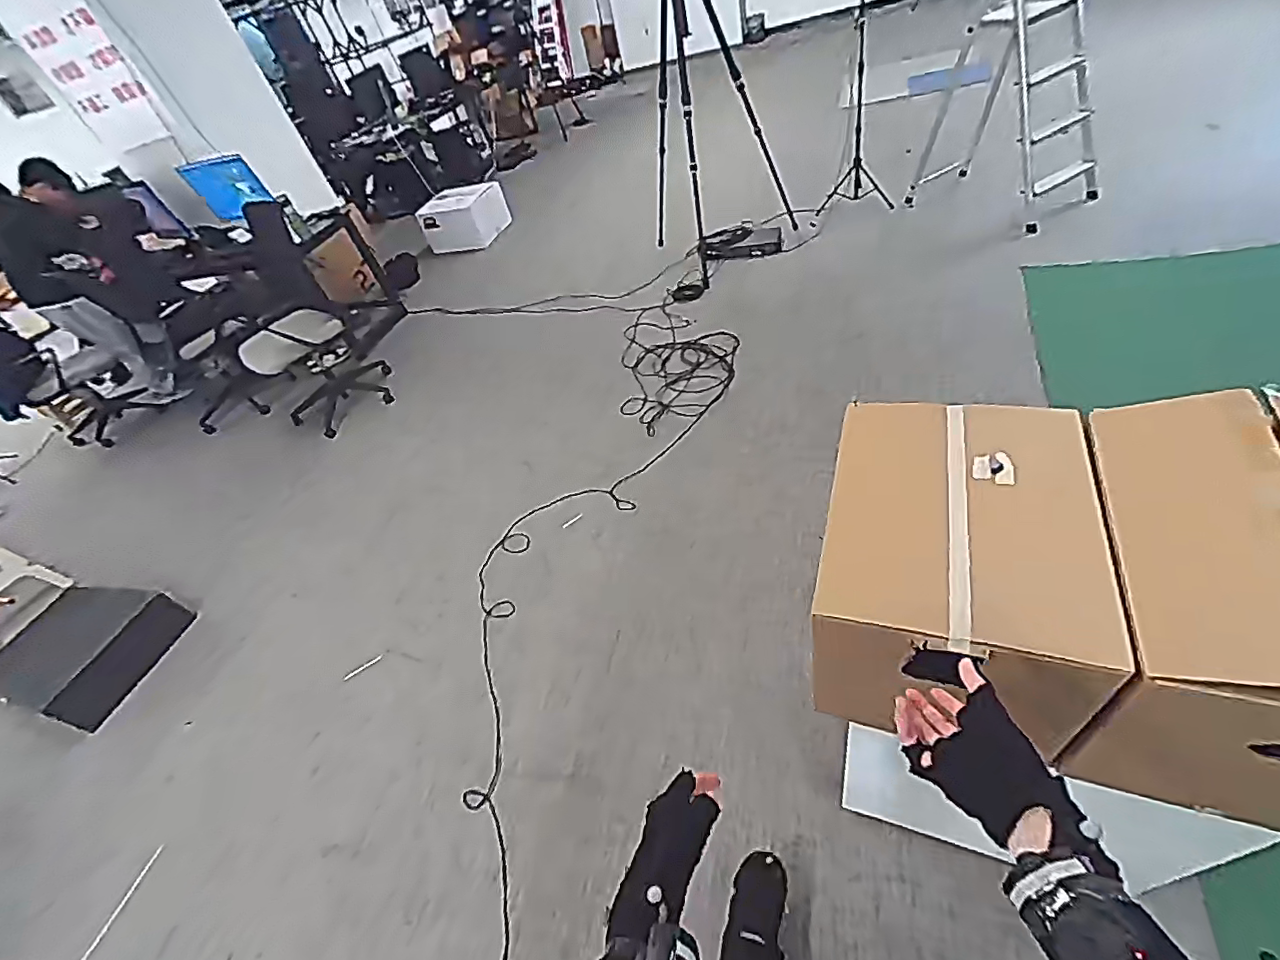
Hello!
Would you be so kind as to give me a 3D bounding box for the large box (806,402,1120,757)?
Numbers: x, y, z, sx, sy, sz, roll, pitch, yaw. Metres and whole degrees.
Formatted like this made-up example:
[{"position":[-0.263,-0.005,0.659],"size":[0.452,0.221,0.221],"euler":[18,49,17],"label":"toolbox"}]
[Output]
[{"position":[0.442,0.131,0.818],"size":[0.320,0.320,0.408],"euler":[6,49,24],"label":"large box"}]
